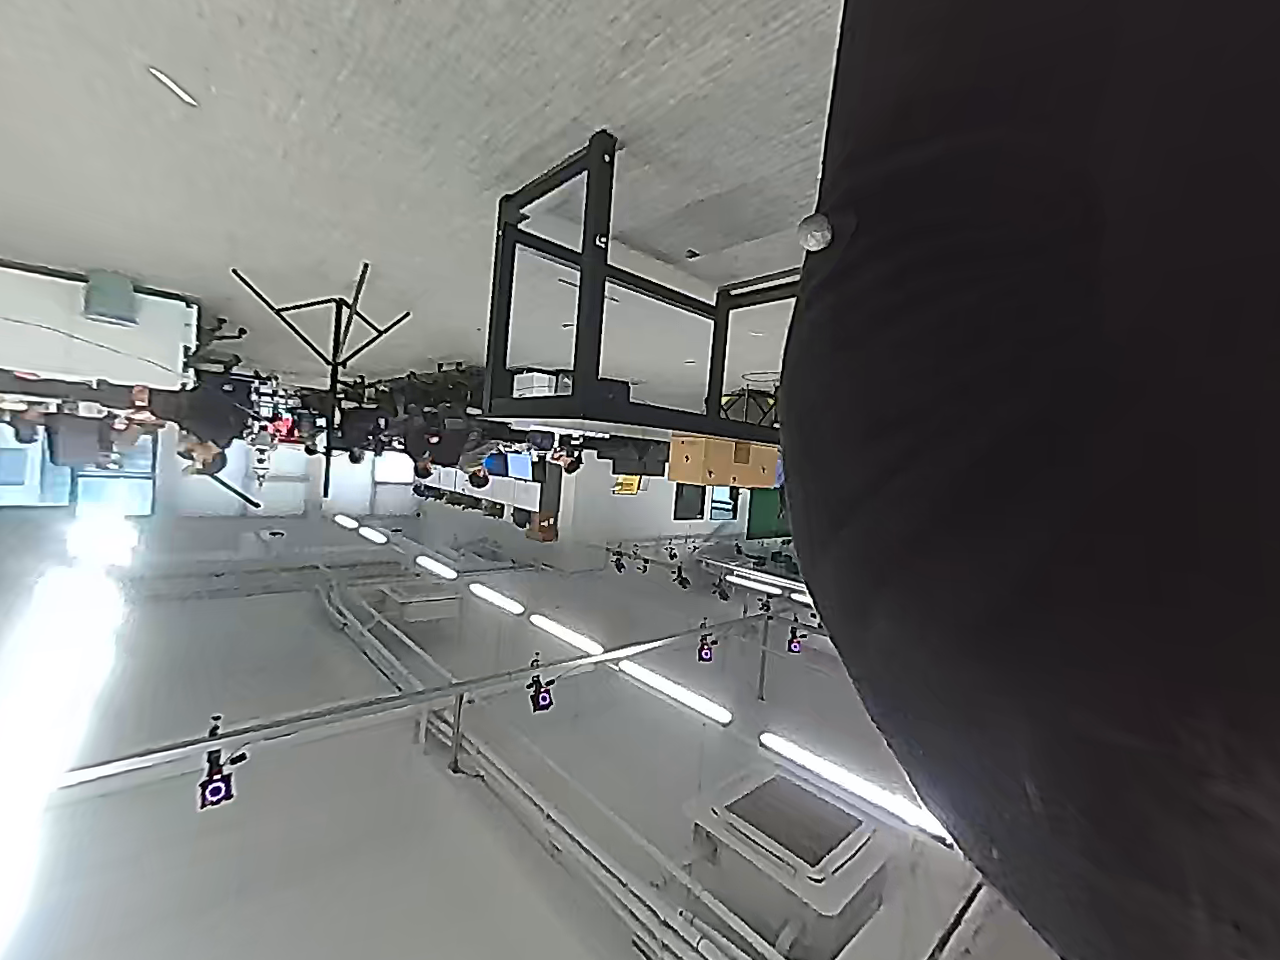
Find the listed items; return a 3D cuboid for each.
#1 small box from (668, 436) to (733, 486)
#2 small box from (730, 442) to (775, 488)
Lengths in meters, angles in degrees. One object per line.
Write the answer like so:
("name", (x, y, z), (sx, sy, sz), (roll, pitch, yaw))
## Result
("small box", (0.224, -0.071, 1.985), (0.179, 0.176, 0.168), (2, -176, -44))
("small box", (0.425, -0.062, 2.169), (0.179, 0.176, 0.168), (3, -177, -40))
